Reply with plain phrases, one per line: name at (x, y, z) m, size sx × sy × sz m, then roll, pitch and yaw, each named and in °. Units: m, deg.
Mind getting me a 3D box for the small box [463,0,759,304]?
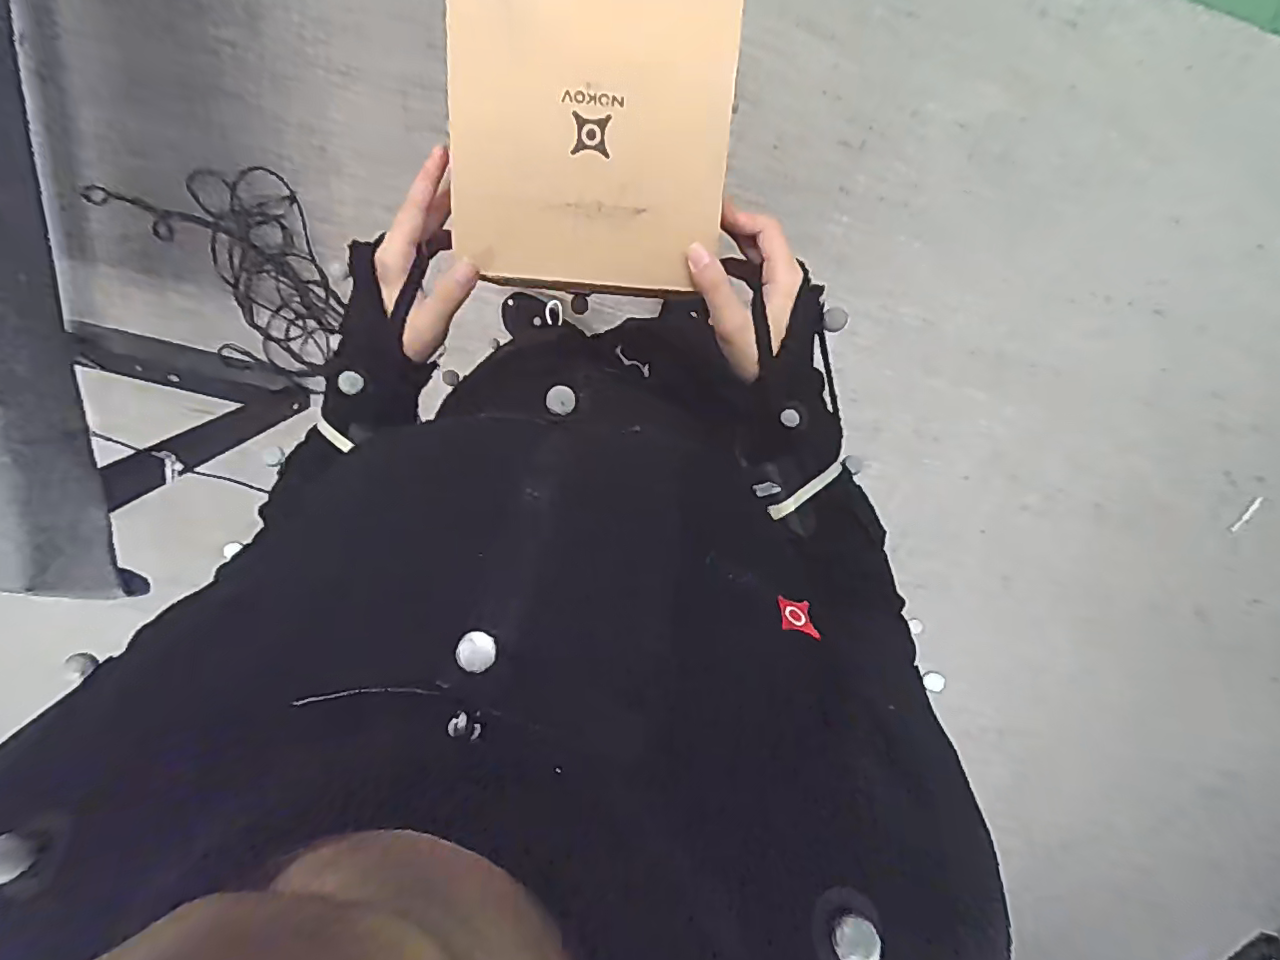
small box at (-0.025, -0.228, 0.394) m, size 0.168 × 0.176 × 0.179 m, roll 4°, pitch 107°, yaw -4°
